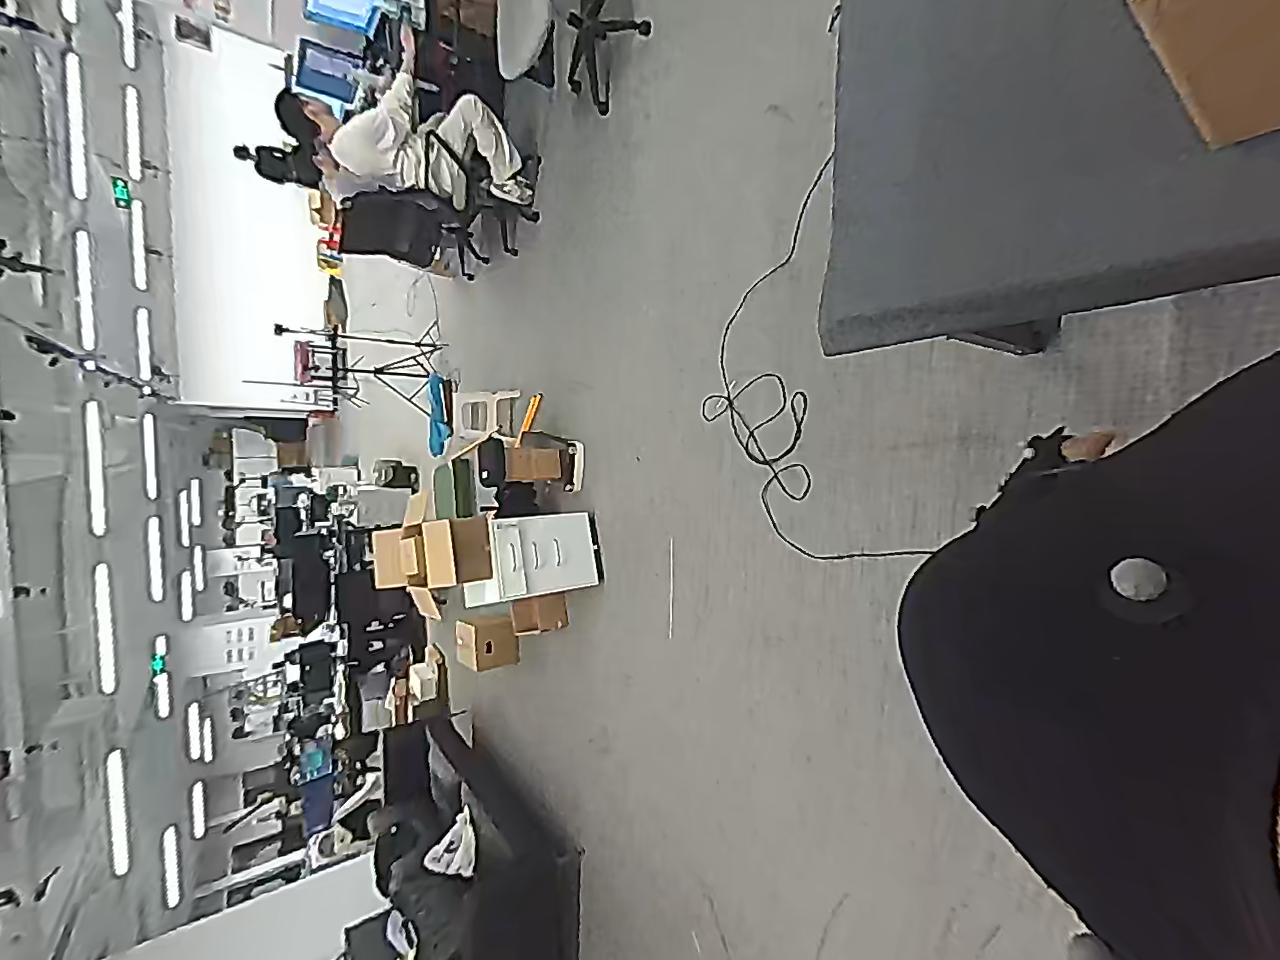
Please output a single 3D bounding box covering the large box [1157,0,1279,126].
[{"bbox_3d":[0.590,-0.501,0.307,0.408,0.320,0.320,4,96,53],"label":"large box"}]
